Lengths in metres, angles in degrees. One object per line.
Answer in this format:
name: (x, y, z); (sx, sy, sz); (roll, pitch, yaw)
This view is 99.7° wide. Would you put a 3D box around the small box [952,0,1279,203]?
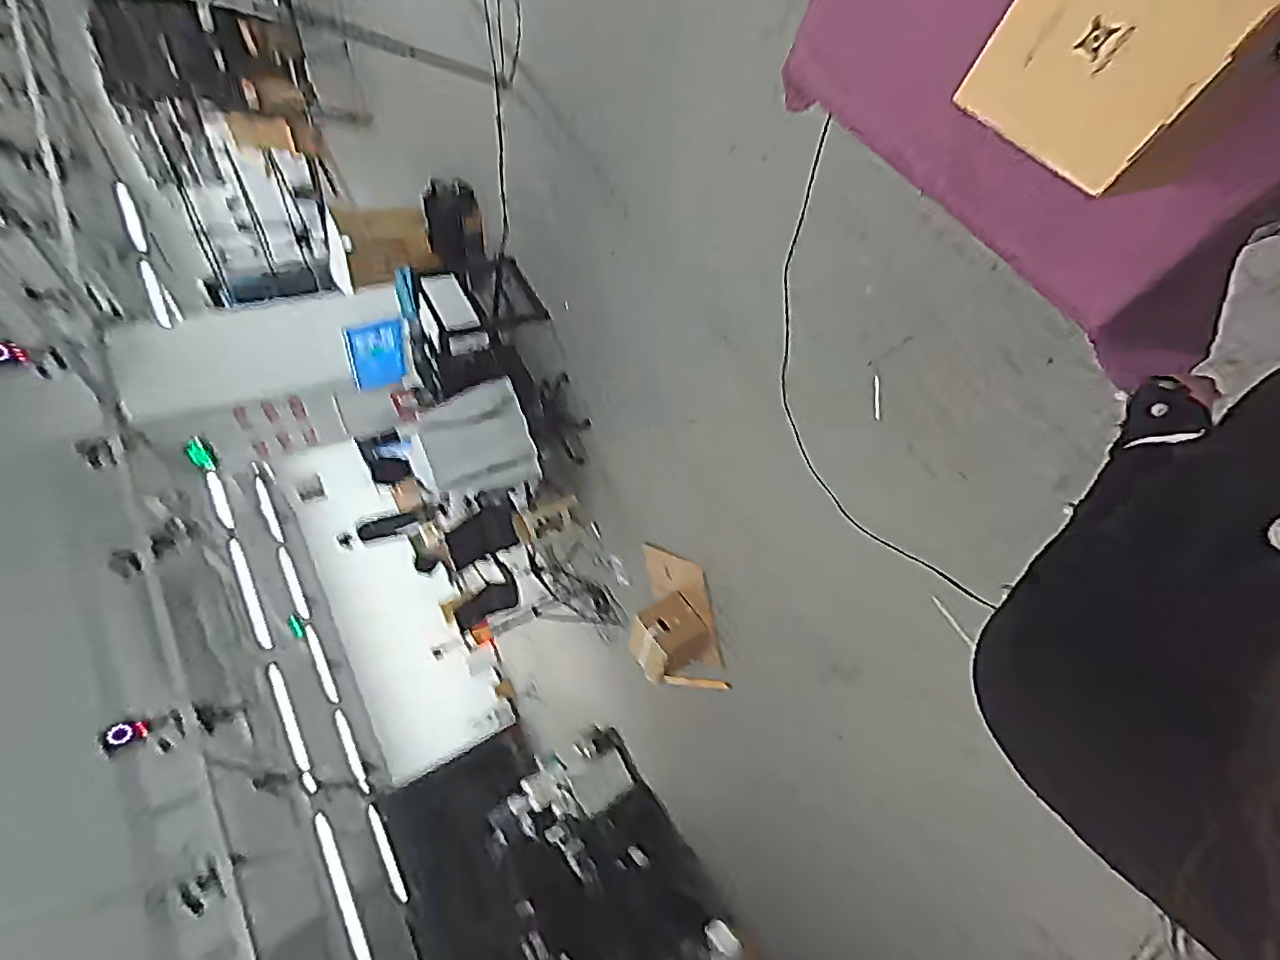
small box: (0.443, -0.382, 0.487); (0.179, 0.176, 0.168); (57, 149, 22)
